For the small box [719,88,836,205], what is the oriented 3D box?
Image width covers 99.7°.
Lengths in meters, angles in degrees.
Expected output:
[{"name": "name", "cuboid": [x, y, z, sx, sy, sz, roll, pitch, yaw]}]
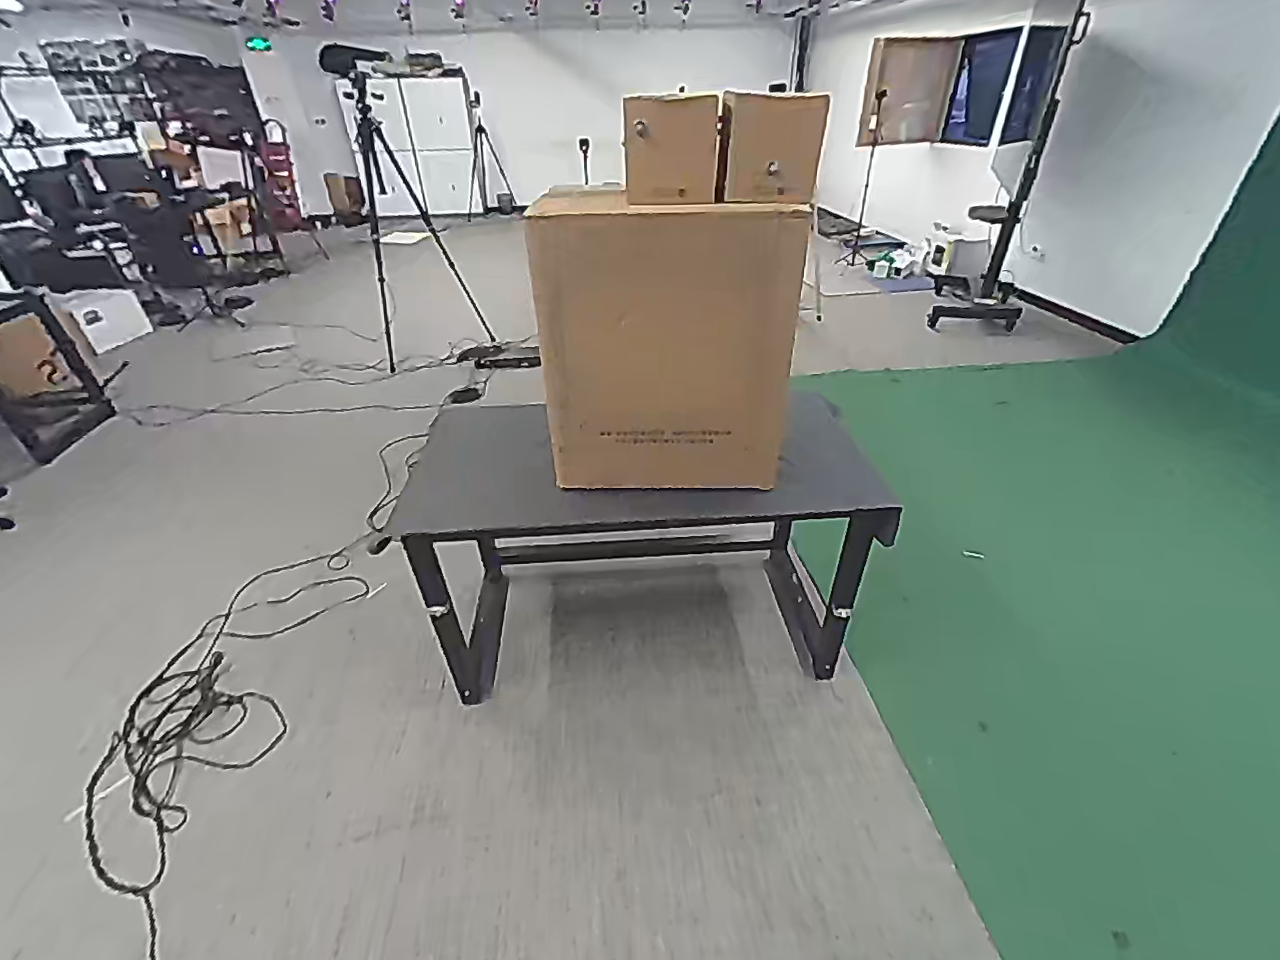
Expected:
[{"name": "small box", "cuboid": [0.245, -0.627, 1.015, 0.168, 0.176, 0.179, 1, 37, 0]}]
